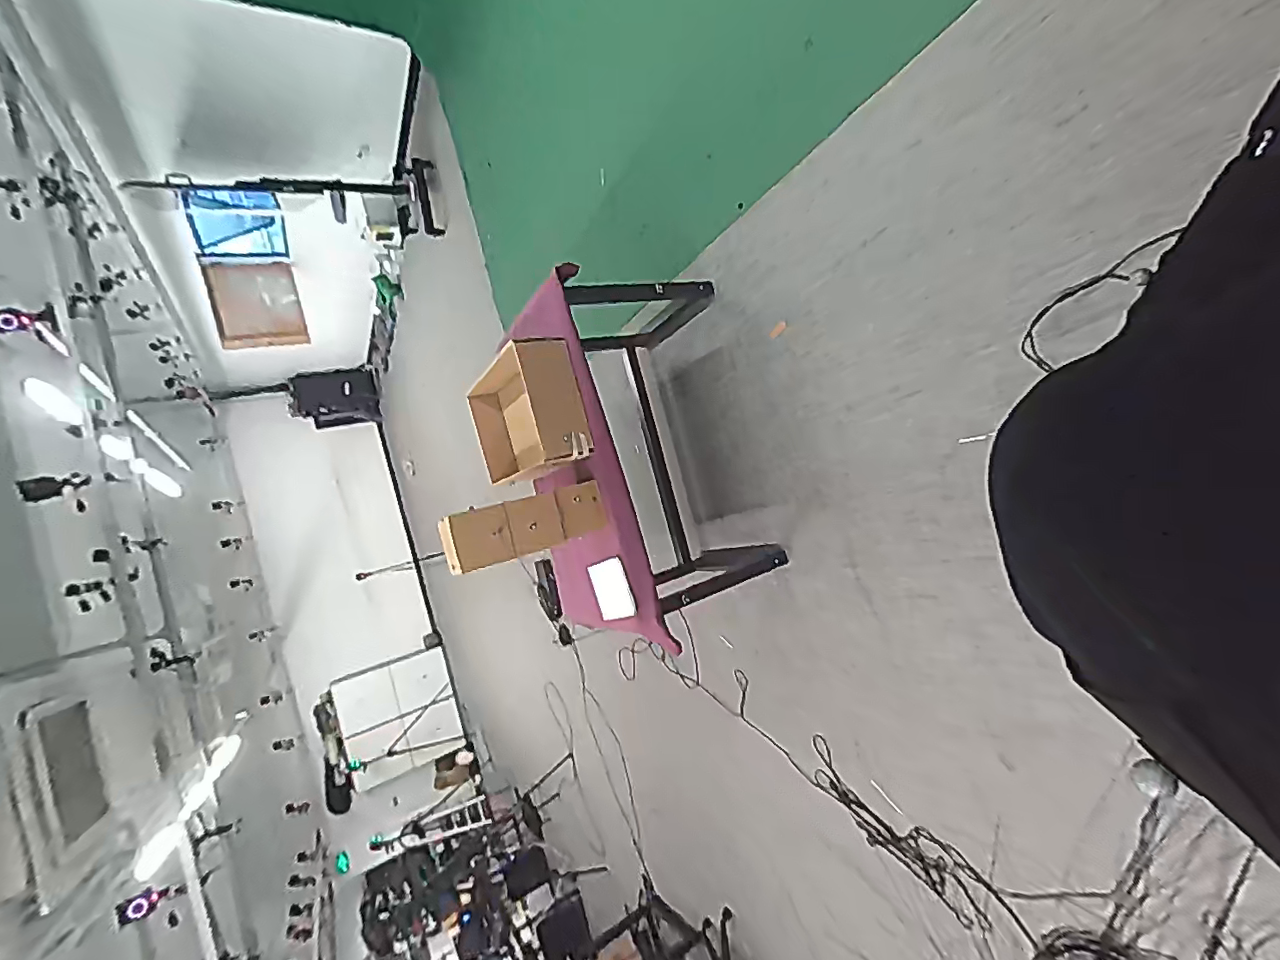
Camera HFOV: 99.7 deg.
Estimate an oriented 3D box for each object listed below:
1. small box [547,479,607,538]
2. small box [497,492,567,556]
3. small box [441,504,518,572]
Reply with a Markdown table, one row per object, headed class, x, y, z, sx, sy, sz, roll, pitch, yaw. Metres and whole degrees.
| class | x | y | z | sx | sy | sz | roll | pitch | yaw |
| --- | --- | --- | --- | --- | --- | --- | --- | --- | --- |
| small box | -0.224 | 0.100 | 1.823 | 0.179 | 0.176 | 0.168 | -17 | 88 | 60 |
| small box | -0.353 | 0.139 | 1.730 | 0.168 | 0.176 | 0.179 | -16 | 88 | 60 |
| small box | -0.489 | 0.173 | 1.644 | 0.168 | 0.176 | 0.179 | -17 | 86 | 60 |
